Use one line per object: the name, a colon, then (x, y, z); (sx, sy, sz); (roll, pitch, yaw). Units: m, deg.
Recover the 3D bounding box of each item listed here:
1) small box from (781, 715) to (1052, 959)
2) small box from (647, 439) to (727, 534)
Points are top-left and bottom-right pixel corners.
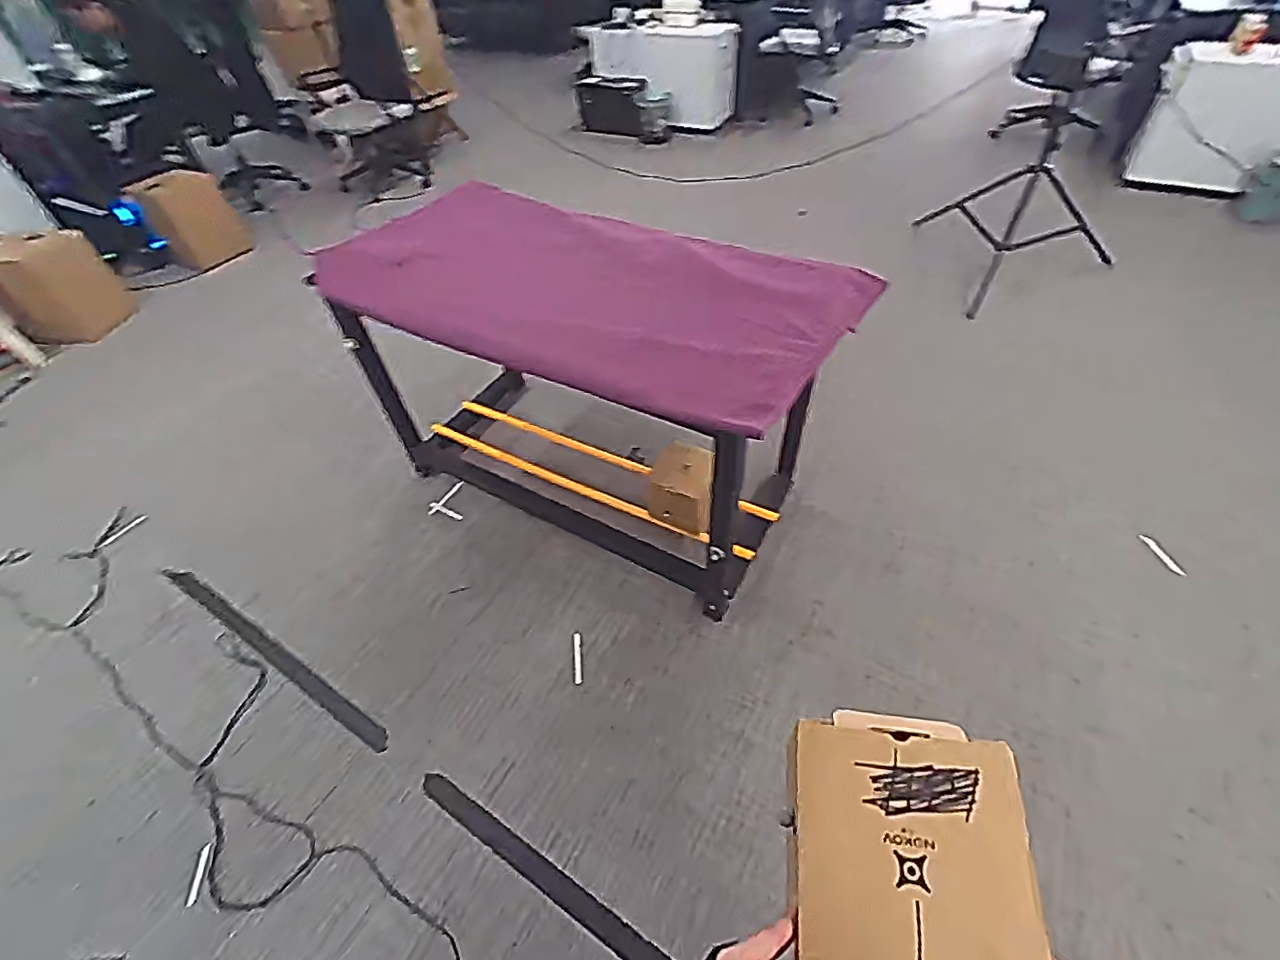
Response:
small box: (0.210, 0.316, 0.464); (0.168, 0.176, 0.179); (0, 59, 12)
small box: (0.134, 0.020, 1.538); (0.168, 0.176, 0.179); (21, 55, 23)
